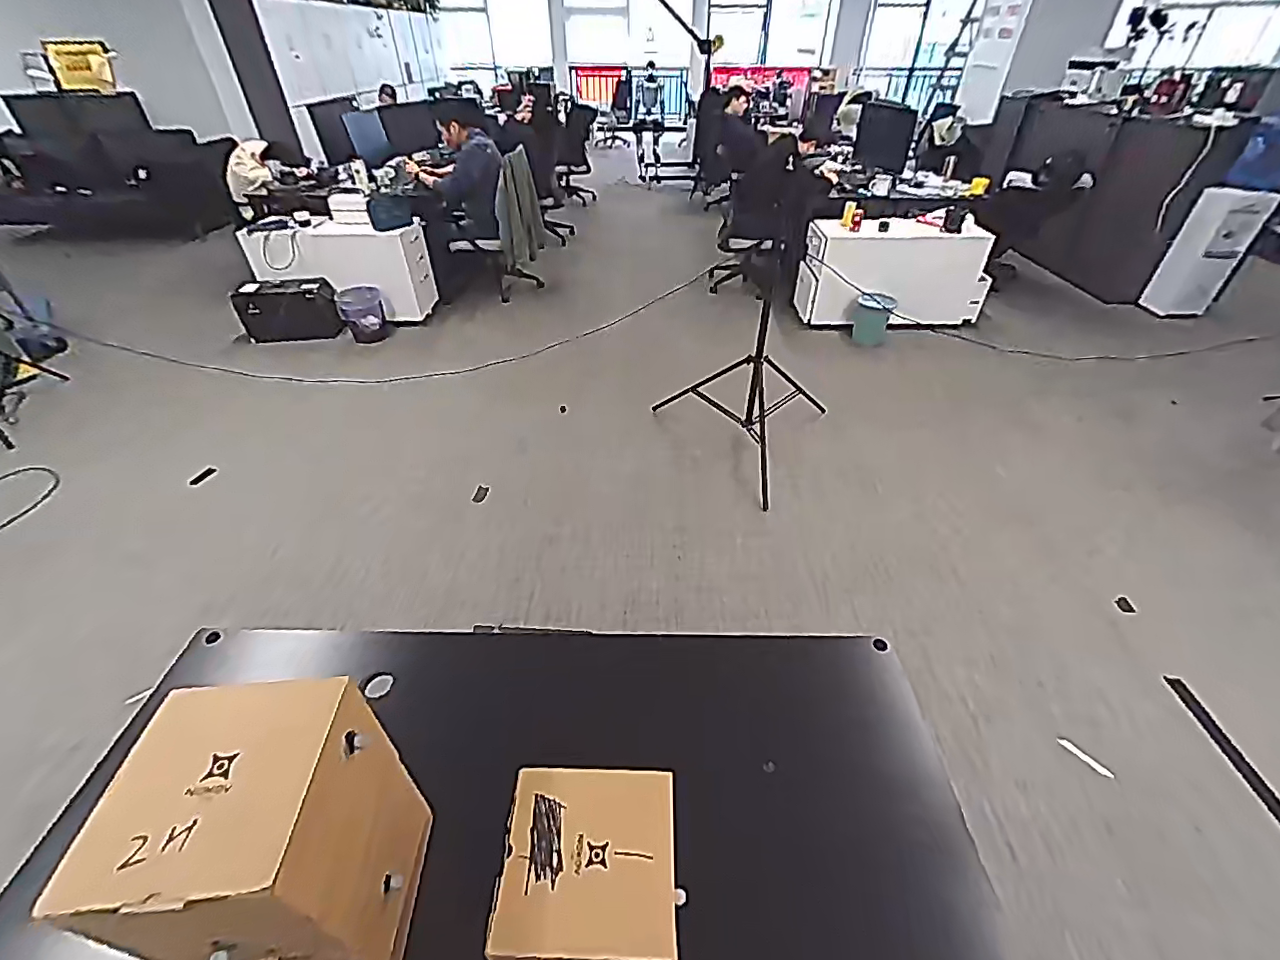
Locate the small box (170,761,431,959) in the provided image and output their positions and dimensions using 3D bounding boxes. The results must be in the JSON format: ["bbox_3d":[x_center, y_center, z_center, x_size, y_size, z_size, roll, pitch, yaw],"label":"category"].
[{"bbox_3d":[-0.351,0.445,0.607,0.168,0.176,0.179,-3,39,-2],"label":"small box"}]

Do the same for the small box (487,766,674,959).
[{"bbox_3d":[-0.052,0.444,0.604,0.179,0.176,0.168,1,39,1],"label":"small box"}]

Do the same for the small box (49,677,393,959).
[{"bbox_3d":[-0.352,0.313,0.507,0.168,0.176,0.179,-4,39,-3],"label":"small box"}]
